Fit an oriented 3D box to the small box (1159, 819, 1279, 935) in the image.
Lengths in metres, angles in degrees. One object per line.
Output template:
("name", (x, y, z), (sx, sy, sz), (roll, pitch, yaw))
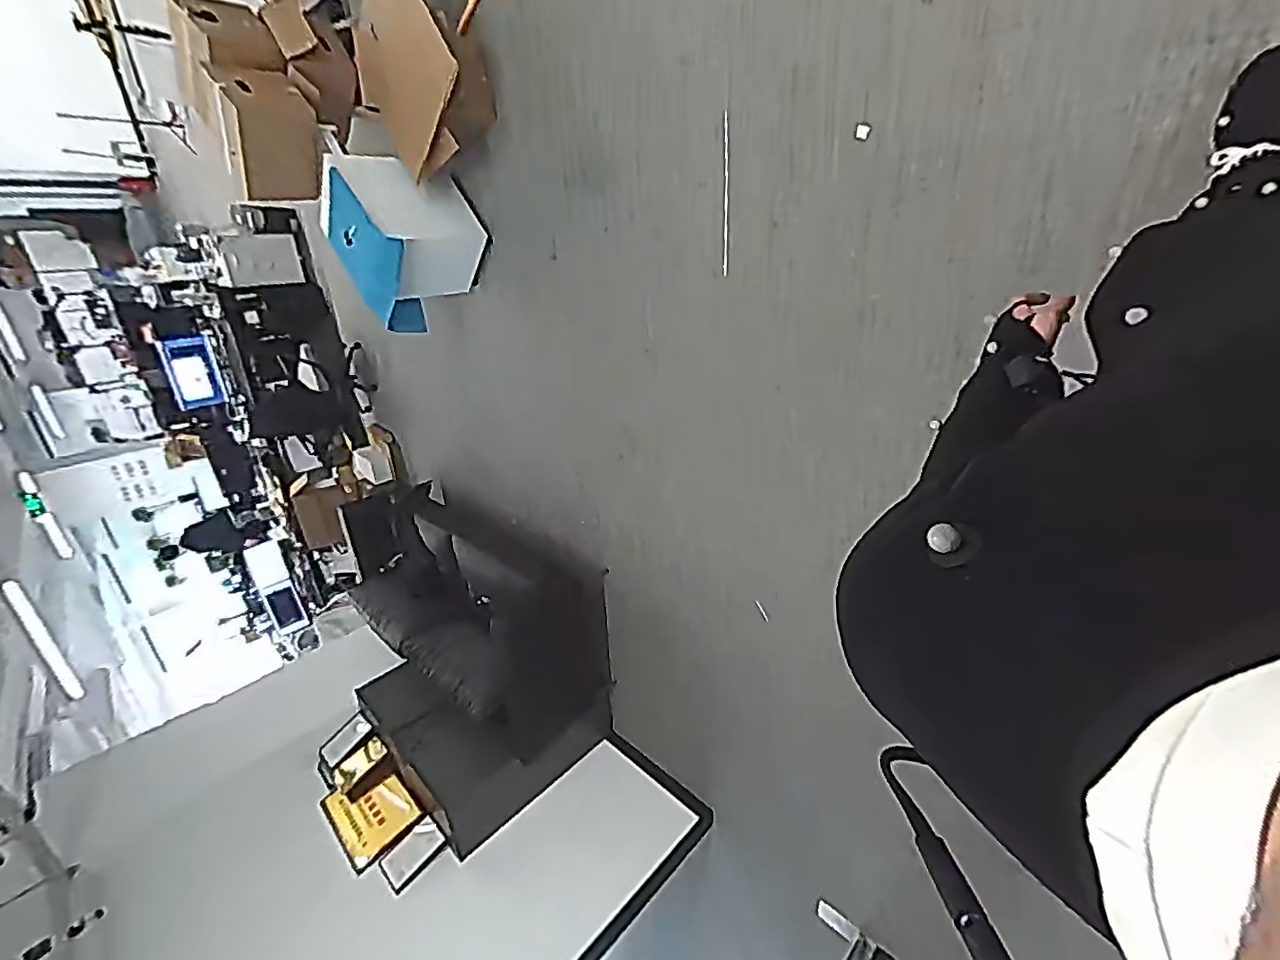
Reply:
("small box", (1.057, 0.750, 0.940), (0.168, 0.176, 0.179), (26, 125, 38))
